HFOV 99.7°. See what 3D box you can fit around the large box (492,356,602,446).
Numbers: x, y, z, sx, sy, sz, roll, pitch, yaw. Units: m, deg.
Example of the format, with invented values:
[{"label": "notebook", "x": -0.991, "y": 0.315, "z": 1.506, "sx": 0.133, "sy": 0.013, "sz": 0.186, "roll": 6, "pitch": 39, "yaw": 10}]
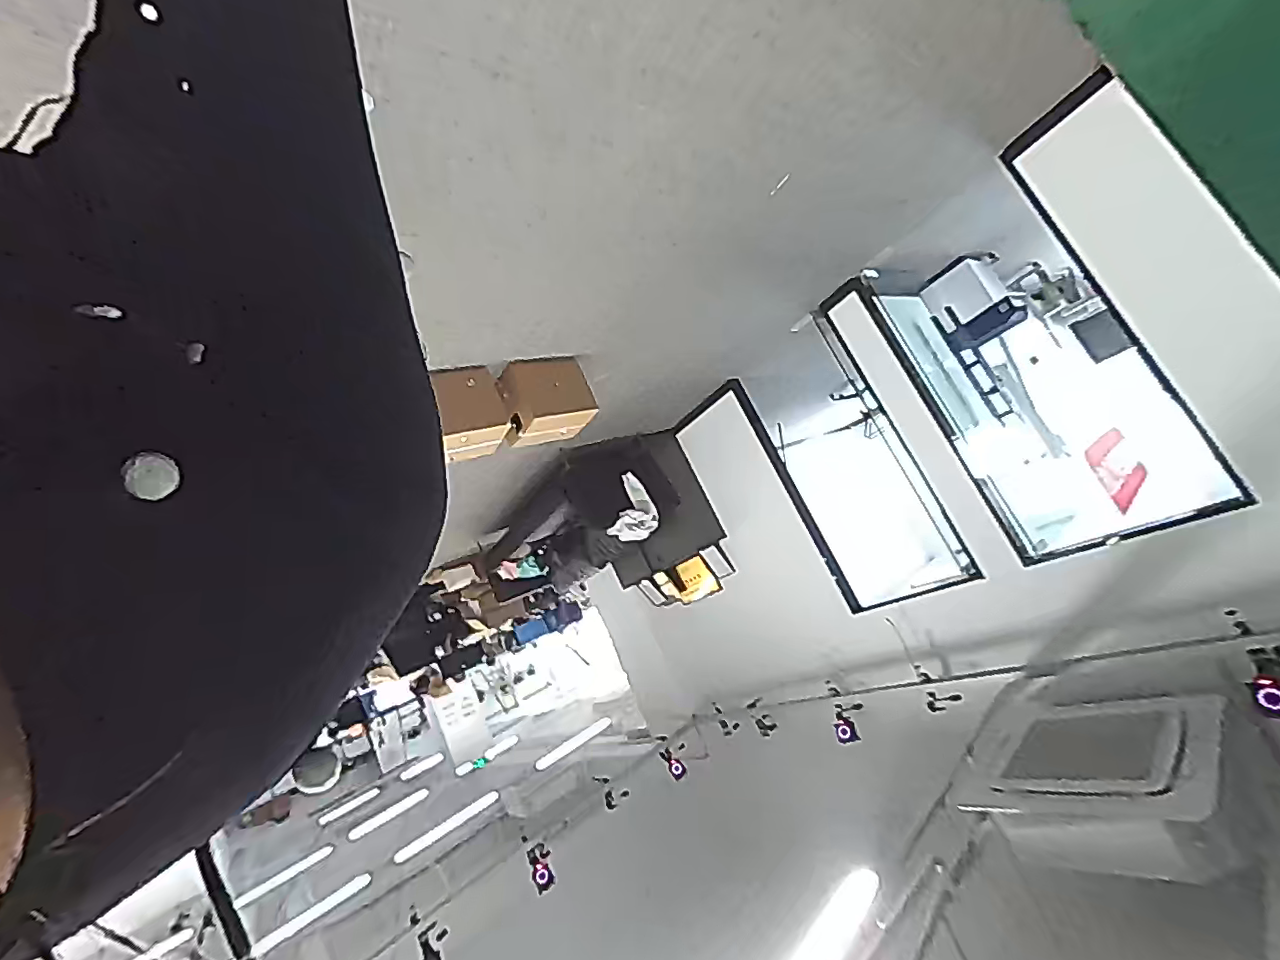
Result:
[{"label": "large box", "x": -0.481, "y": -0.410, "z": 2.762, "sx": 0.408, "sy": 0.320, "sz": 0.320, "roll": -17, "pitch": 167, "yaw": -42}]
